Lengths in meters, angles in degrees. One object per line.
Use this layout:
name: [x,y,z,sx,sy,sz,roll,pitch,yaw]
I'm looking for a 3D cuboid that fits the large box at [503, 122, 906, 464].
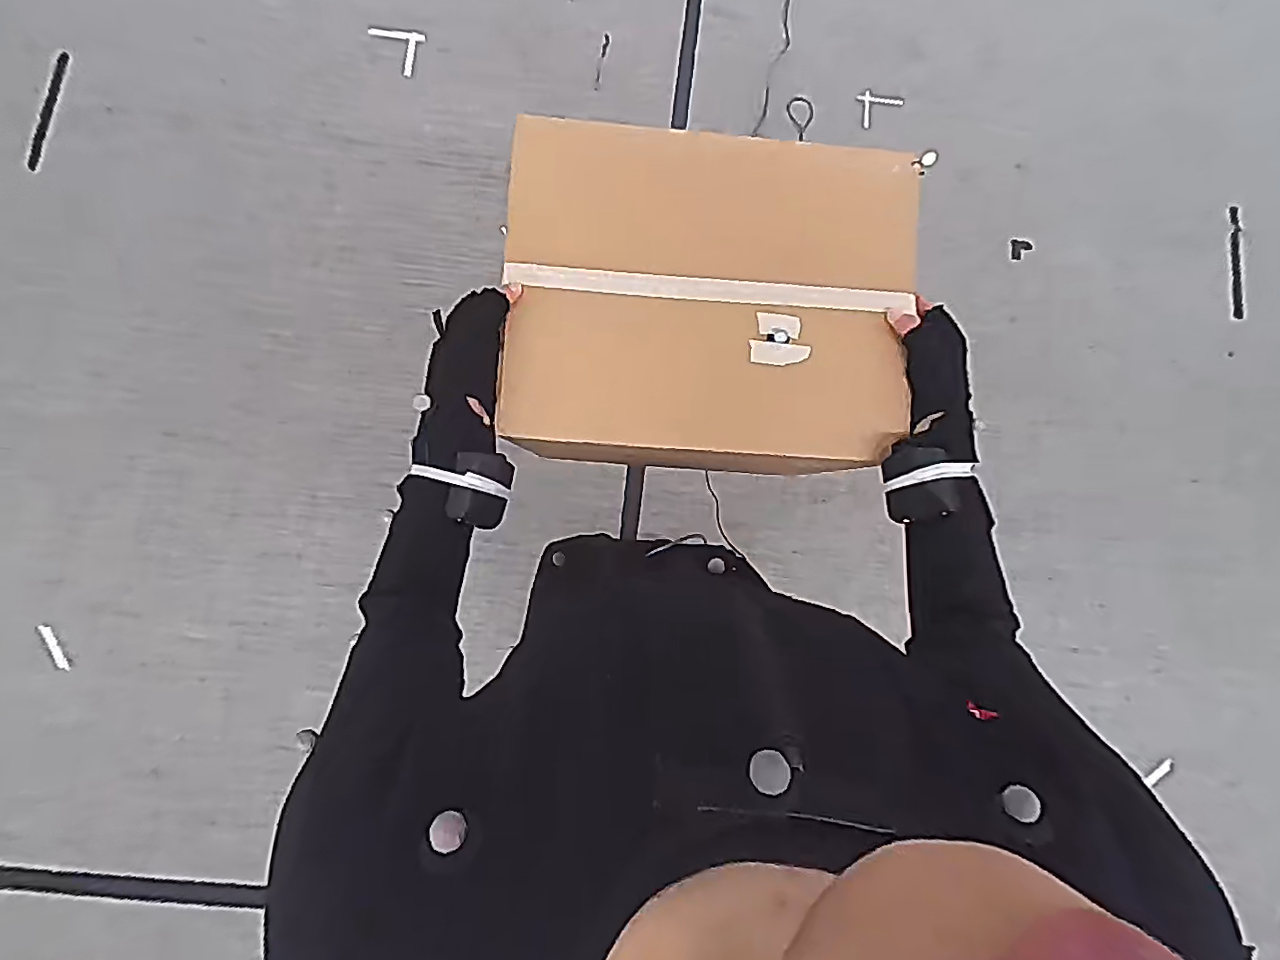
large box: [0.059,-0.190,0.690,0.408,0.320,0.320,4,90,-4]
